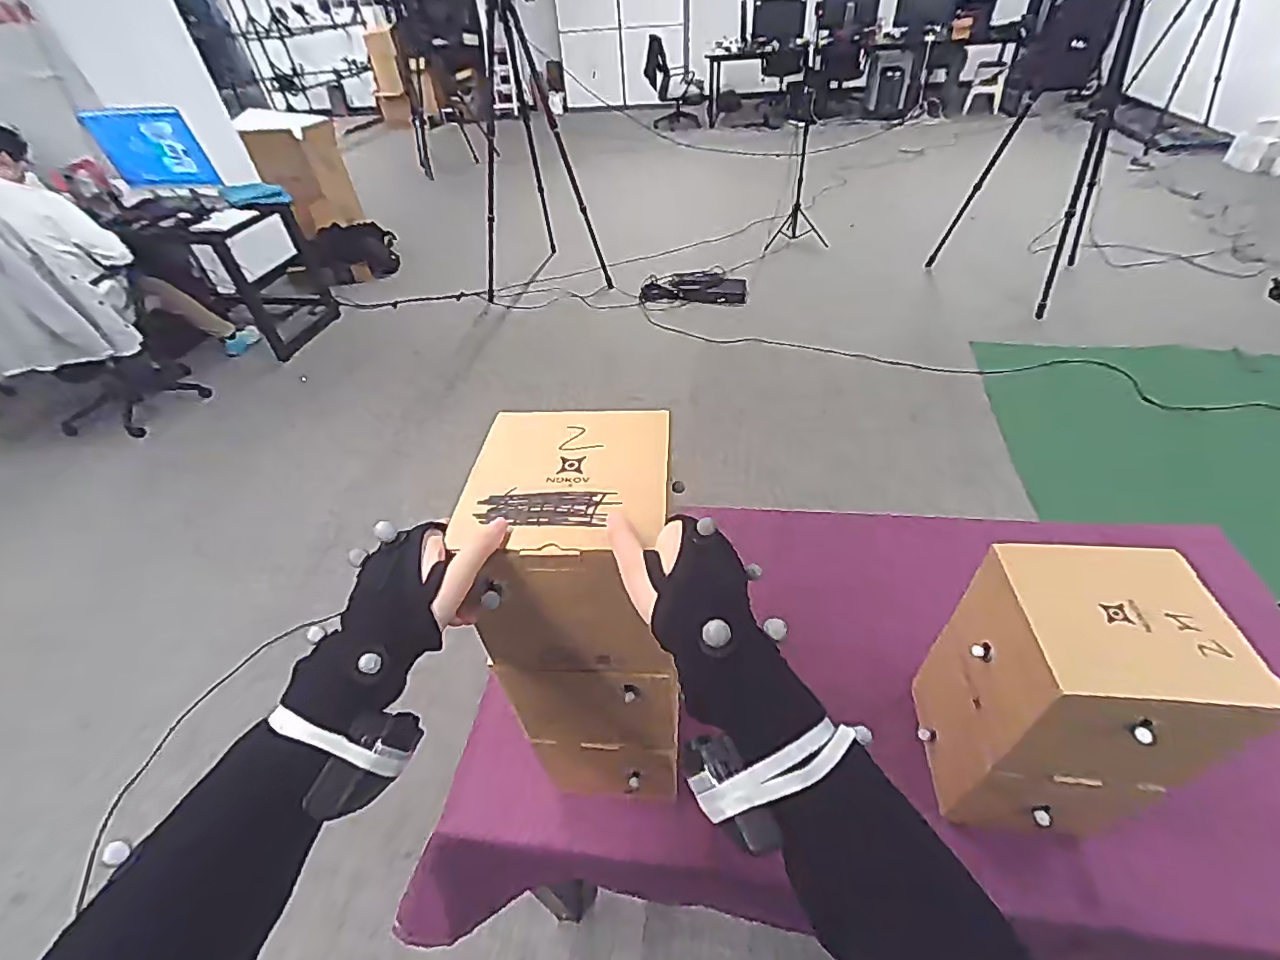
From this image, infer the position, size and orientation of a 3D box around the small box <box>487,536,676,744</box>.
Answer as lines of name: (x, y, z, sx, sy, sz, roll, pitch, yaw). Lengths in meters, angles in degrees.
small box: (-0.049, 0.181, 0.612, 0.179, 0.176, 0.168, 1, 43, 4)

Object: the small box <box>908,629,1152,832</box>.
small box: (0.453, 0.310, 0.667, 0.168, 0.176, 0.179, 3, 44, 8)

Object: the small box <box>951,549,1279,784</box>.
small box: (0.444, 0.190, 0.553, 0.179, 0.176, 0.168, 2, 43, 8)

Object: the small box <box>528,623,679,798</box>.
small box: (-0.035, 0.301, 0.721, 0.168, 0.176, 0.179, 2, 43, 6)
